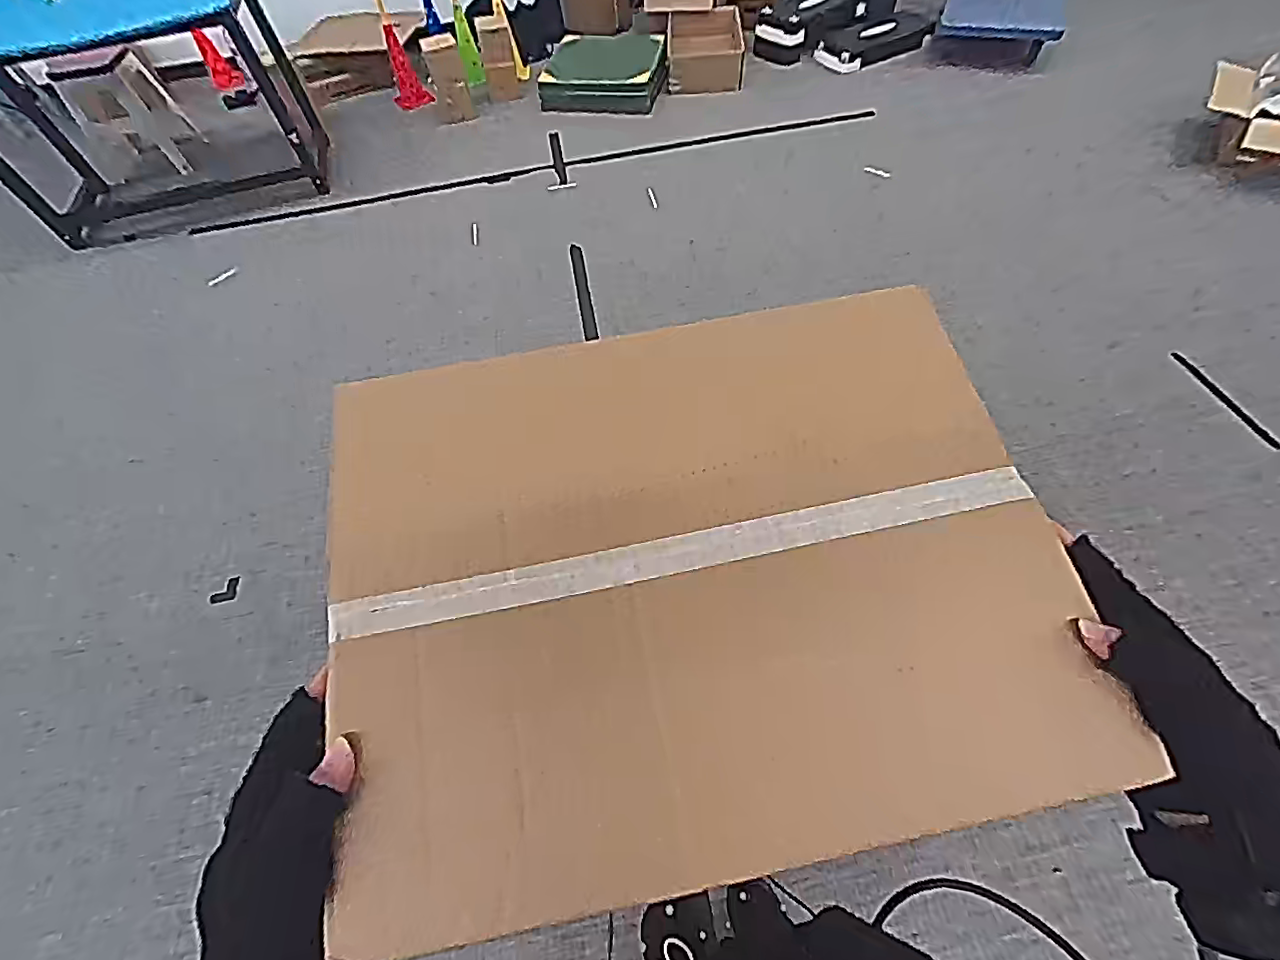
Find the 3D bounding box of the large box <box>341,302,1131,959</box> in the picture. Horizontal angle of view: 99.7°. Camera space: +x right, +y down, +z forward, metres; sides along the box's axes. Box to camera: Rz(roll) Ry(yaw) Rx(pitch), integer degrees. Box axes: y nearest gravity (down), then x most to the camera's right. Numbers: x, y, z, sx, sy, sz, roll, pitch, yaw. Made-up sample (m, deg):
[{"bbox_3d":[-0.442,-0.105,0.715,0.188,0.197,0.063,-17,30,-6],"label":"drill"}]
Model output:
[{"bbox_3d":[0.032,0.106,0.454,0.408,0.320,0.320,-11,67,-3],"label":"large box"}]
